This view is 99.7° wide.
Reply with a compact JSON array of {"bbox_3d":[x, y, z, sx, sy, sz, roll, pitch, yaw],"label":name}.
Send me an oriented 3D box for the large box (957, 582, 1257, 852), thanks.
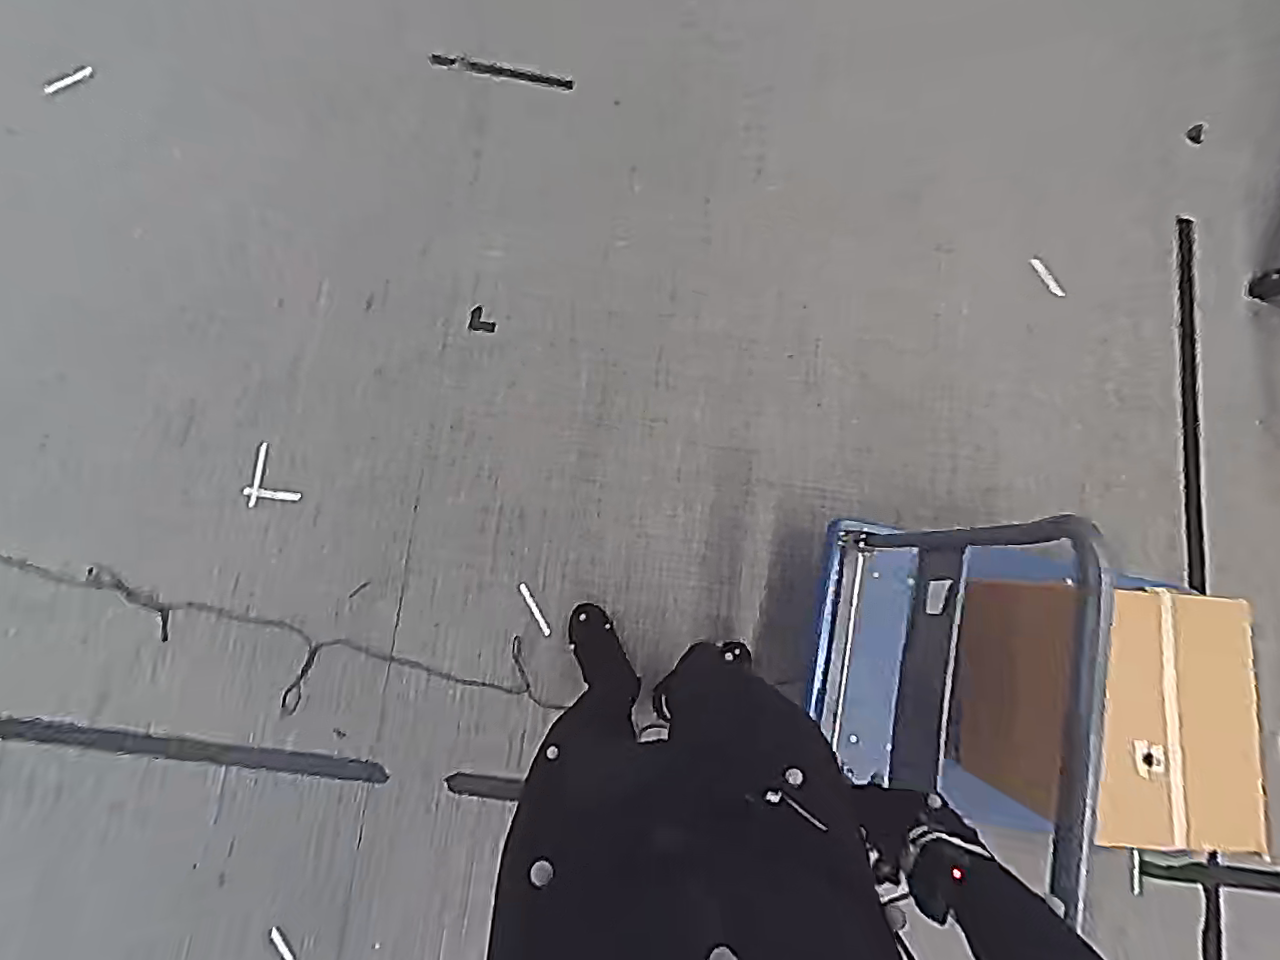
[{"bbox_3d":[0.852,0.413,1.040,0.320,0.320,0.408,5,83,-2],"label":"large box"}]
